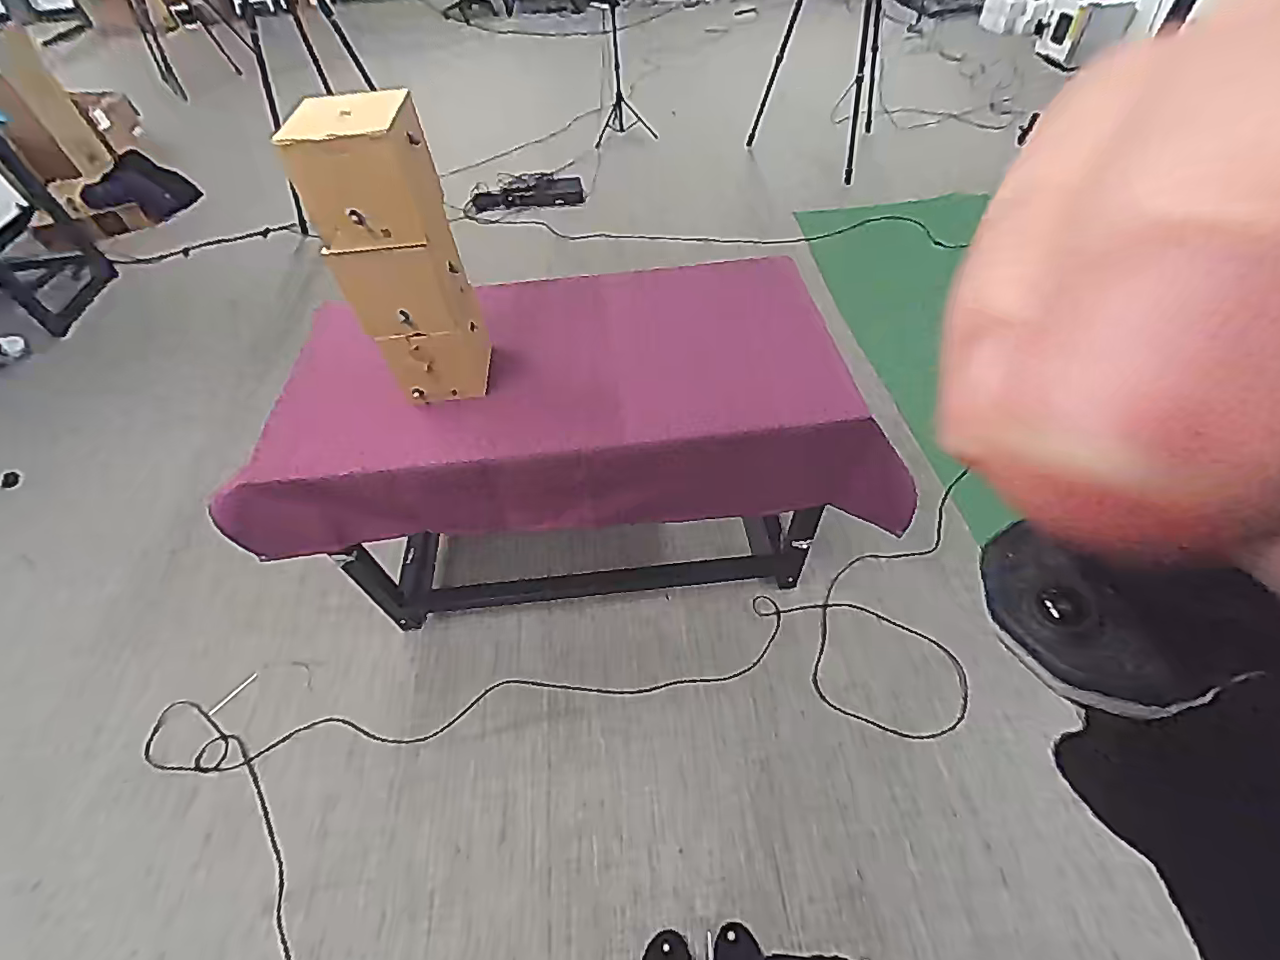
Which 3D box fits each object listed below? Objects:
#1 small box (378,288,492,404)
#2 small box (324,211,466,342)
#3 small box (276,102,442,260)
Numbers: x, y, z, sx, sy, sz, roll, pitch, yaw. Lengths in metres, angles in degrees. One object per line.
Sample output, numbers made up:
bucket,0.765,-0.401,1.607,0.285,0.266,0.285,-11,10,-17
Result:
small box,-0.414,-0.272,1.125,0.168,0.176,0.179,-6,50,-1
small box,-0.434,-0.373,0.996,0.179,0.176,0.168,-5,50,-1
small box,-0.434,-0.480,0.873,0.168,0.176,0.179,-6,52,-1
